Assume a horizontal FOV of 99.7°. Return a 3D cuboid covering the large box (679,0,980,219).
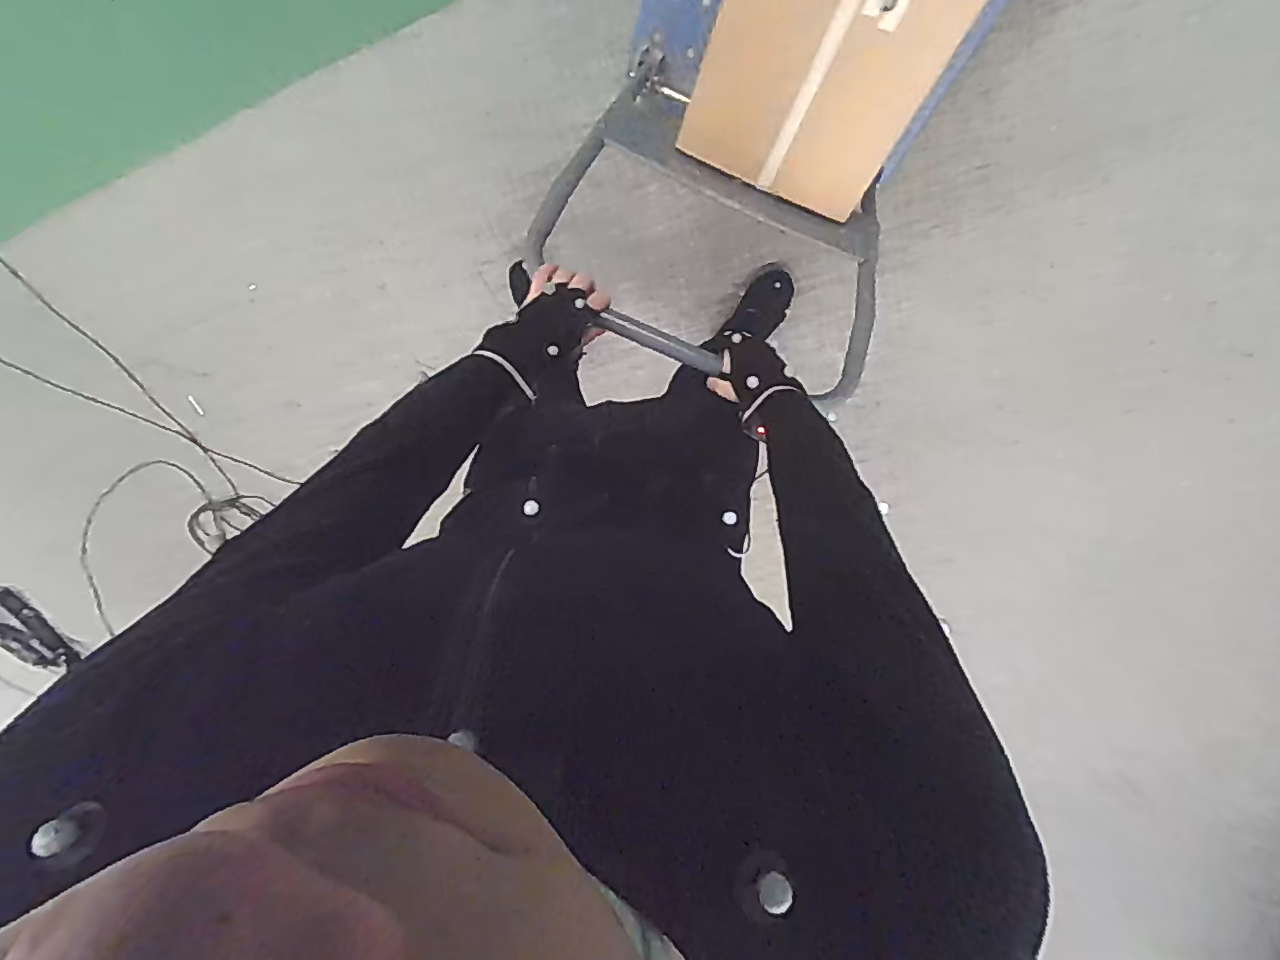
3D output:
[{"bbox_3d":[0.295,-0.716,0.847,0.320,0.320,0.408,22,140,-6],"label":"large box"}]
